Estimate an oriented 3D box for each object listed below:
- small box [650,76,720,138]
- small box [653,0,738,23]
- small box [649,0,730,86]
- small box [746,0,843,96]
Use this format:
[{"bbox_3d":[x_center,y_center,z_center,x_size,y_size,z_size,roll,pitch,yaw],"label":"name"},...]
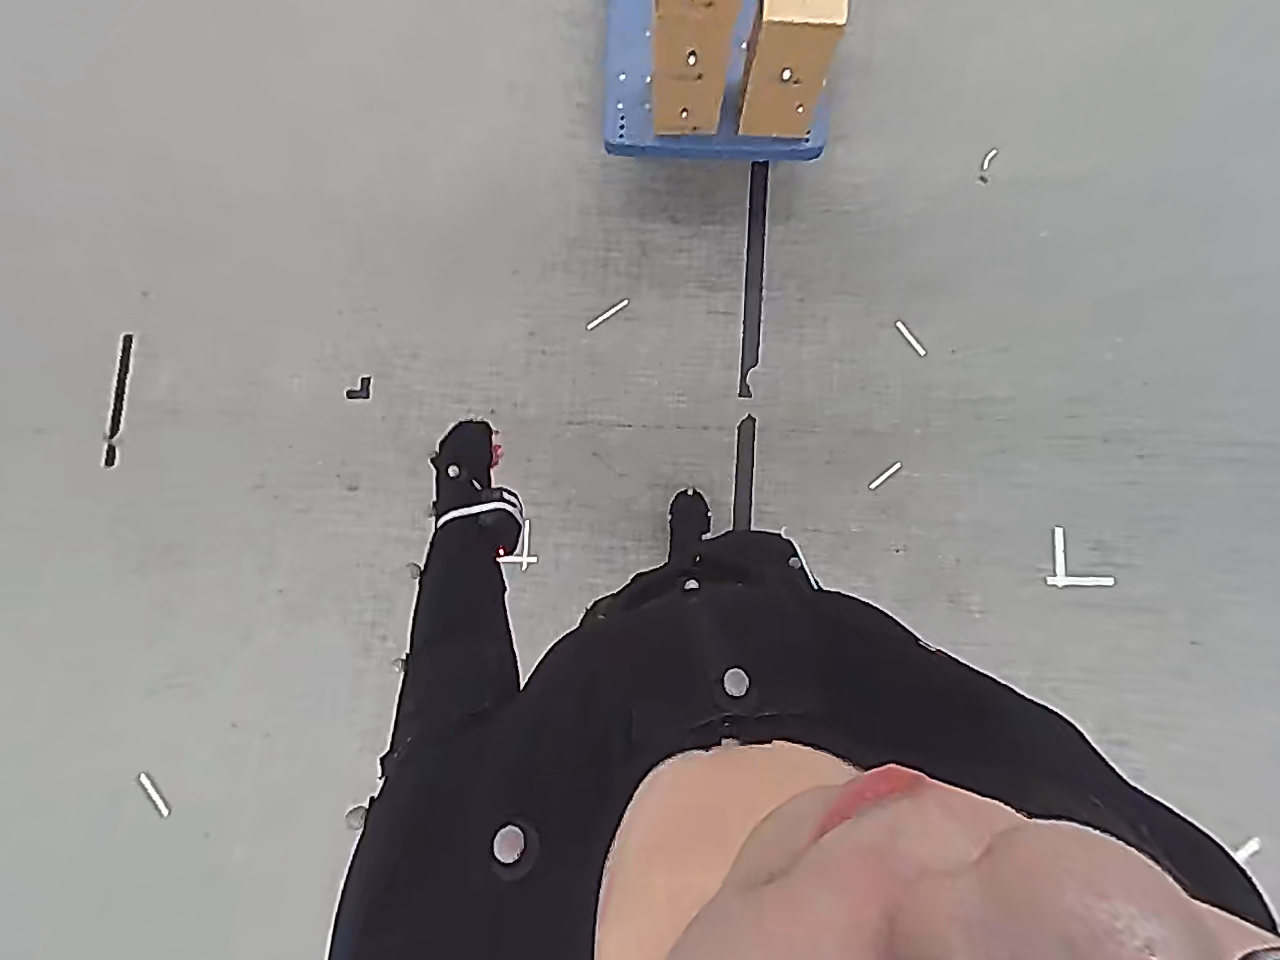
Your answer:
[{"bbox_3d":[0.109,-0.974,1.324,0.168,0.176,0.179,1,85,1],"label":"small box"},{"bbox_3d":[0.108,-1.001,0.997,0.168,0.176,0.179,2,86,2],"label":"small box"},{"bbox_3d":[0.103,-0.985,1.159,0.168,0.176,0.179,0,86,1],"label":"small box"},{"bbox_3d":[0.323,-0.968,1.152,0.168,0.176,0.179,4,86,2],"label":"small box"}]
